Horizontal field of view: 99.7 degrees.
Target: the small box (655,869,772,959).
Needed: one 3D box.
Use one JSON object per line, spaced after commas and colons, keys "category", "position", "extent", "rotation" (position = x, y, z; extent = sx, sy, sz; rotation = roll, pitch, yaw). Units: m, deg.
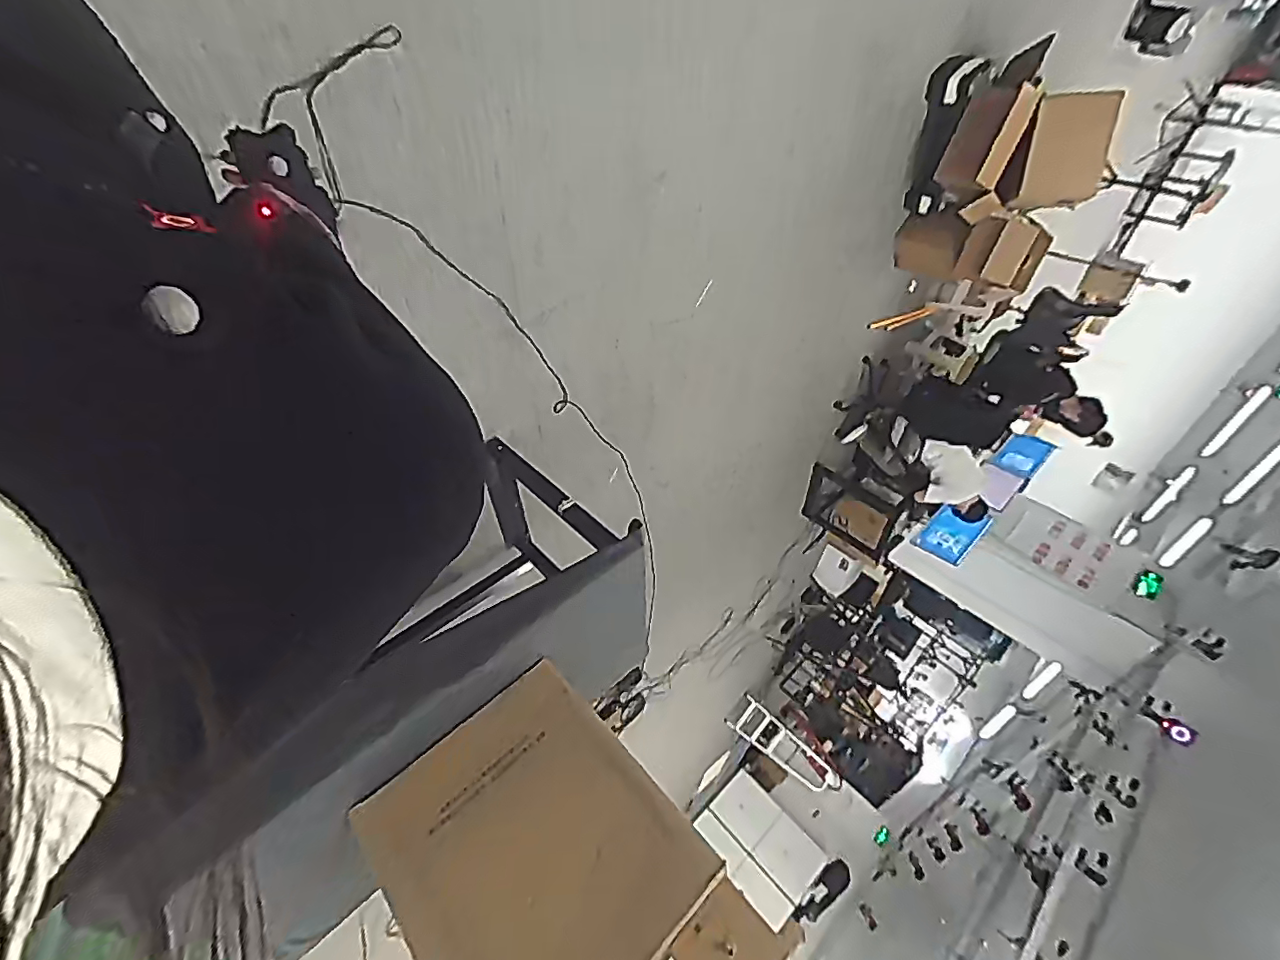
{"category": "small box", "position": [0.144, 0.926, 1.082], "extent": [0.168, 0.176, 0.179], "rotation": [-38, 143, -26]}
